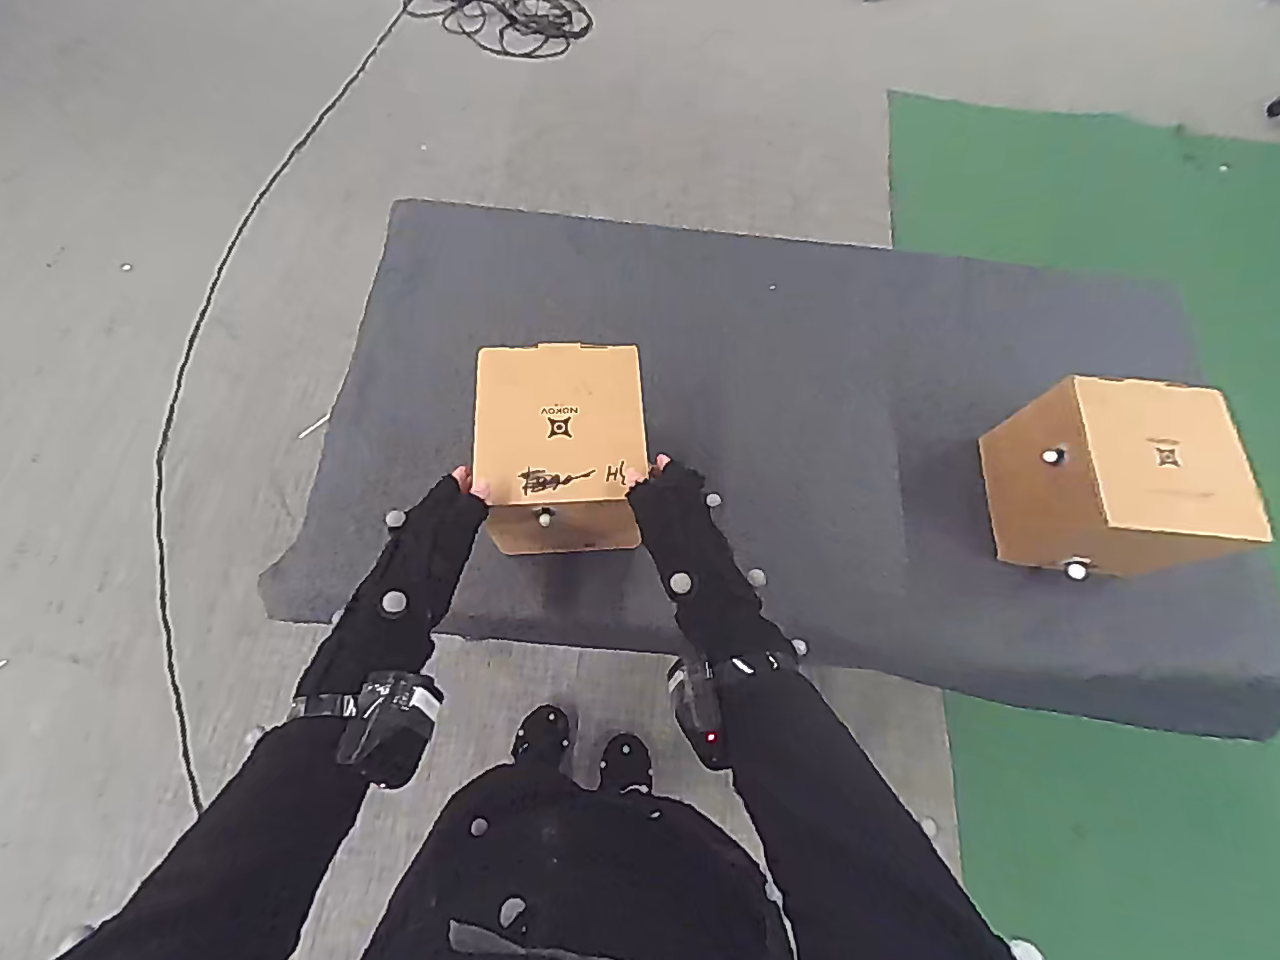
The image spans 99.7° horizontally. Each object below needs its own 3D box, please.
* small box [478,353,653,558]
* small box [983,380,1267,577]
[{"bbox_3d":[-0.078,-0.022,0.609,0.168,0.176,0.179,-3,67,-4],"label":"small box"},{"bbox_3d":[0.539,0.006,0.635,0.168,0.176,0.179,5,69,0],"label":"small box"}]
